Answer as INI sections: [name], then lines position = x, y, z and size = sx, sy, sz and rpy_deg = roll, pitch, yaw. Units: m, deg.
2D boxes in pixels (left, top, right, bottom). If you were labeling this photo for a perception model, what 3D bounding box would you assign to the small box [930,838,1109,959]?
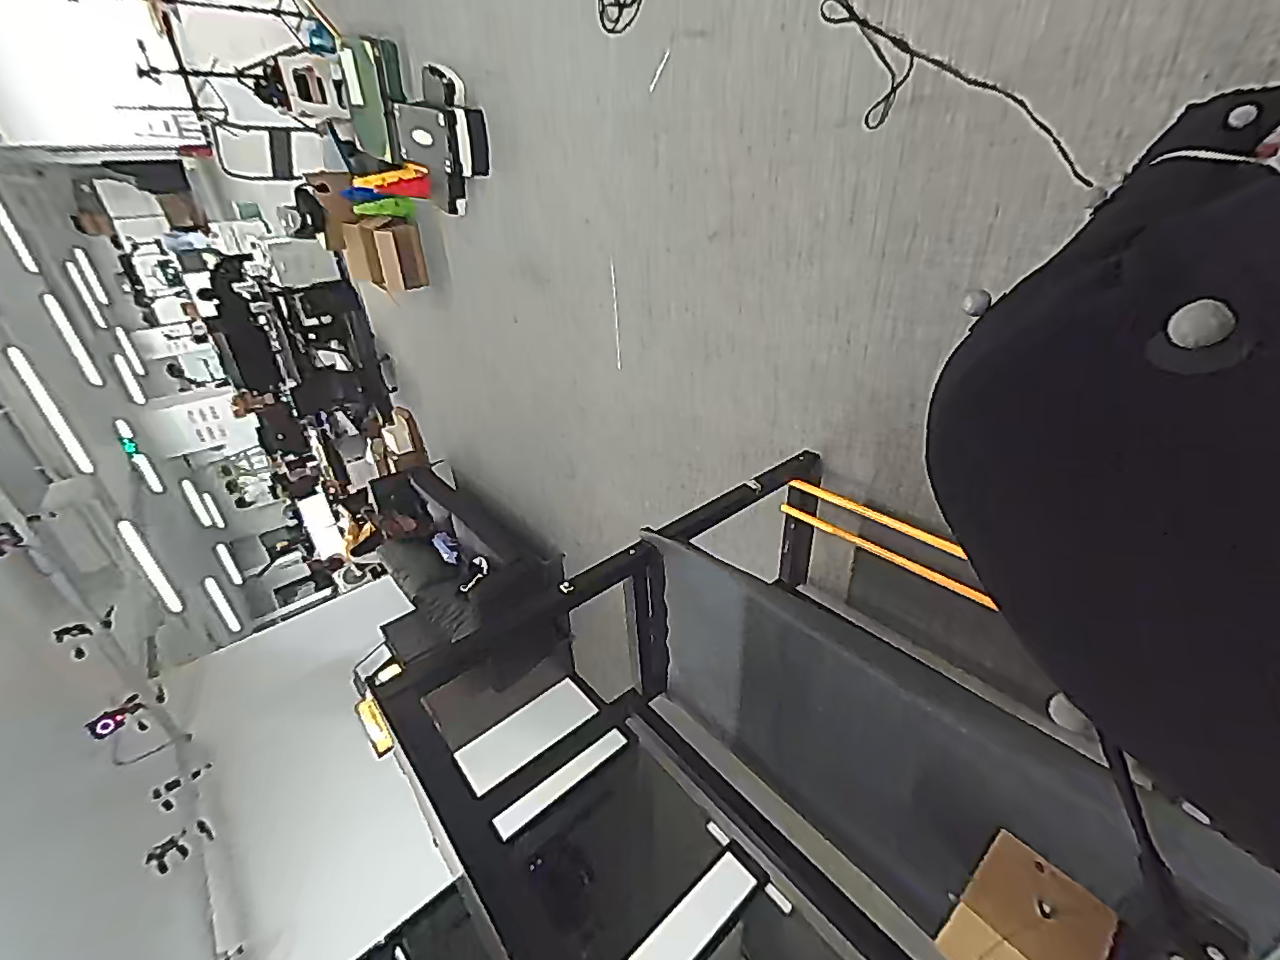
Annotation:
[small box]
position = 0.604, 0.727, 0.863
size = 0.168, 0.176, 0.179
rpy_deg = 32, 135, 41
